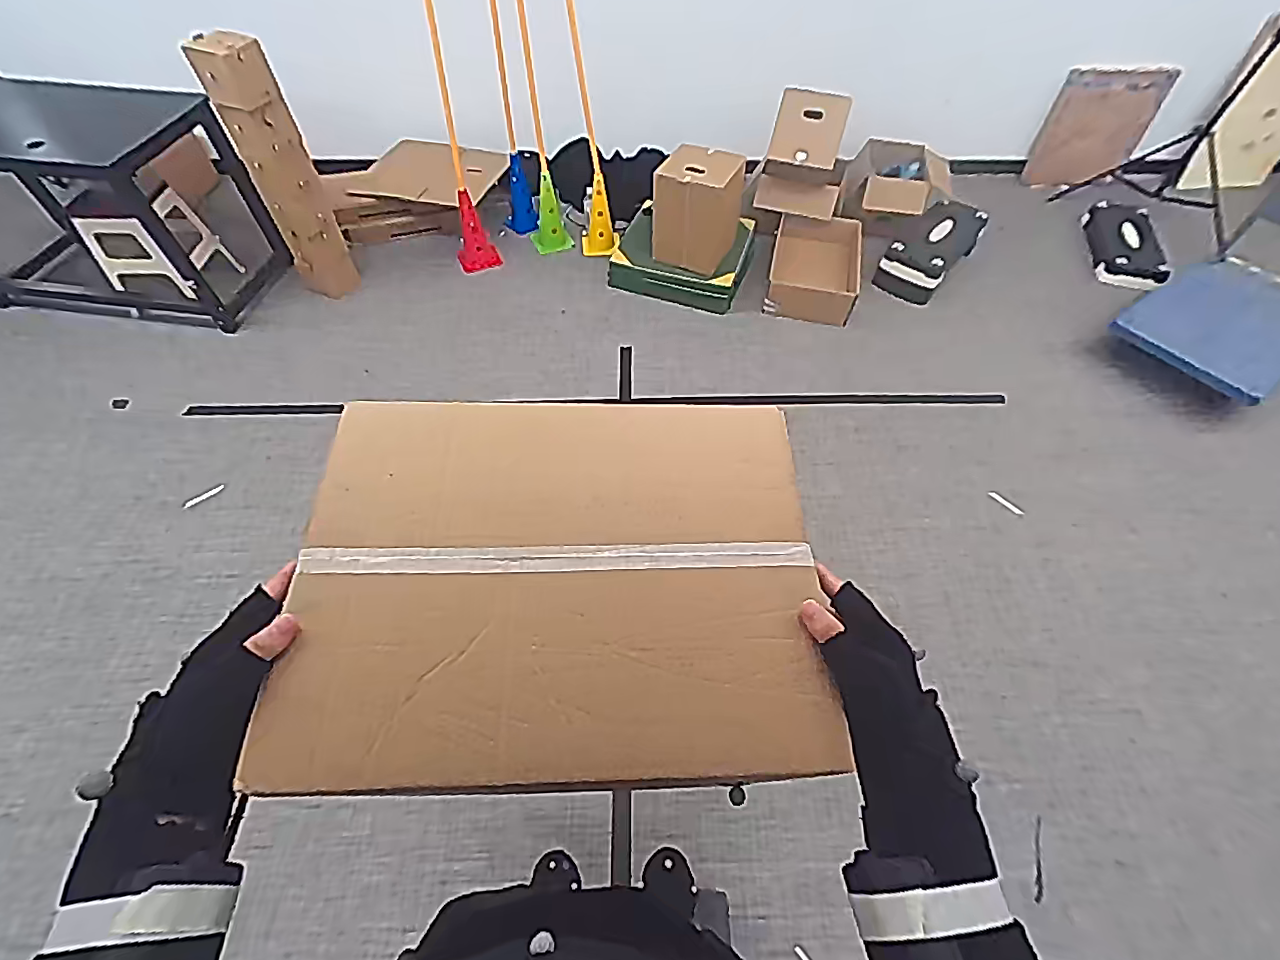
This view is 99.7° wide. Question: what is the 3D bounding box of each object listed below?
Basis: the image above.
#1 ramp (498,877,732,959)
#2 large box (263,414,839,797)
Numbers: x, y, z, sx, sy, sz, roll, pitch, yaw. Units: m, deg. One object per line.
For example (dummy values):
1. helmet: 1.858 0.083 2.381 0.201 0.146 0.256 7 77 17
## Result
1. ramp: -0.042 1.329 0.976 0.509 0.206 0.991 -1 56 -3
2. large box: -0.067 0.145 0.573 0.408 0.320 0.320 0 60 -4
